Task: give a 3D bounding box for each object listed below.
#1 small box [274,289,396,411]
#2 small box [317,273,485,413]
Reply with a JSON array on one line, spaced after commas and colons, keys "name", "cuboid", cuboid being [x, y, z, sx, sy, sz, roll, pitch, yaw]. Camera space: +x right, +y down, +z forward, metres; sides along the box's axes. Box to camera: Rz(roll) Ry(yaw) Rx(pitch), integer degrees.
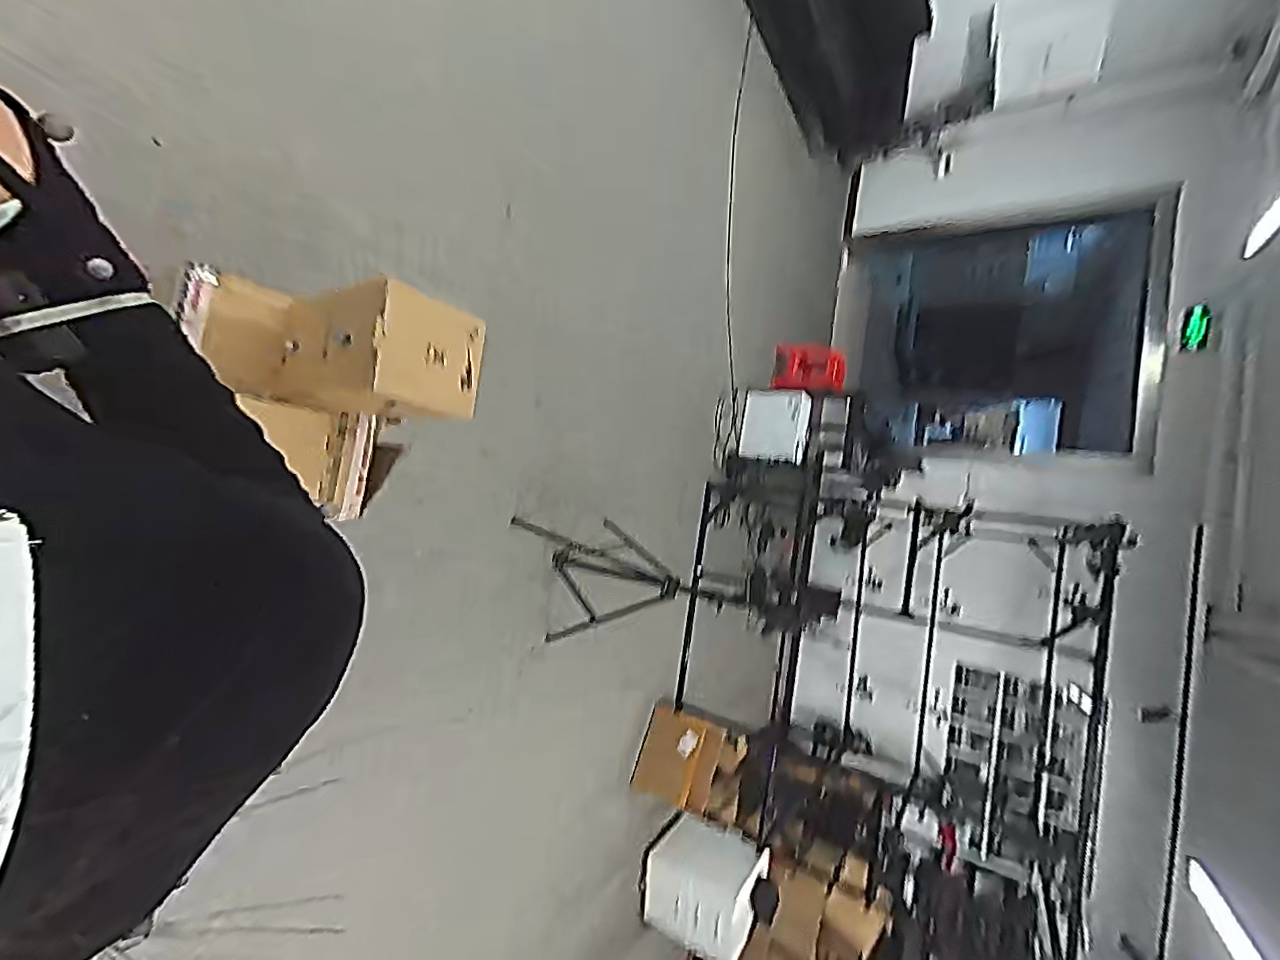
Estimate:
[{"name": "small box", "cuboid": [-0.510, -0.221, 0.965, 0.179, 0.176, 0.168, 12, 85, -55]}, {"name": "small box", "cuboid": [-0.381, -0.204, 0.864, 0.179, 0.176, 0.168, 14, 83, -54]}]
